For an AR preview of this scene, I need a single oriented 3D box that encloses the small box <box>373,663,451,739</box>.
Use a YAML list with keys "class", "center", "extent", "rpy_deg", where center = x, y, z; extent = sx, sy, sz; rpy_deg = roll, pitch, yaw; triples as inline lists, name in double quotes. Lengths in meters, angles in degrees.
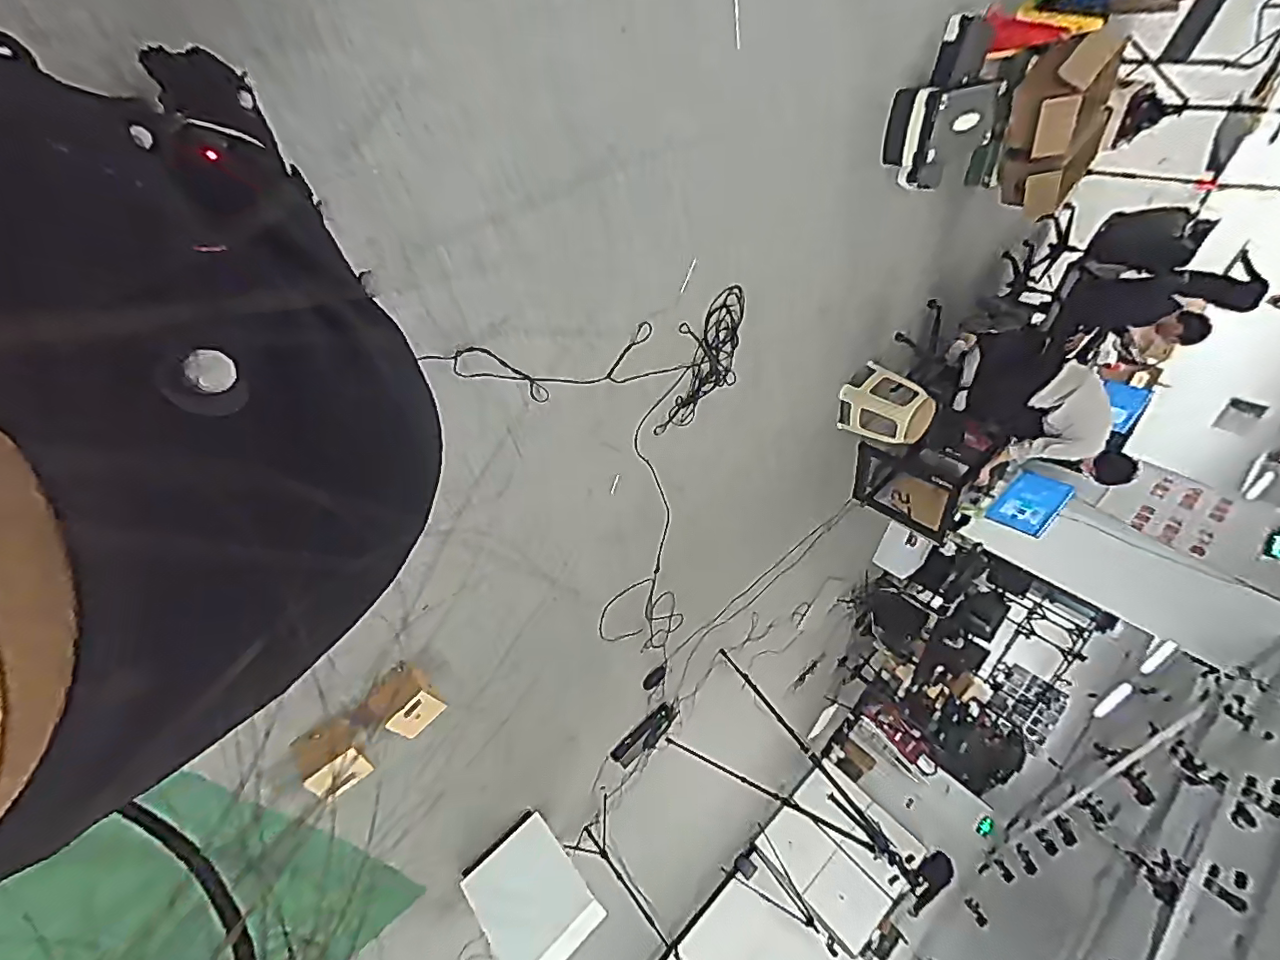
- class: "small box"
  center: [-0.833, 0.799, 1.968]
  extent: [0.168, 0.176, 0.179]
  rpy_deg: [-42, 140, -16]
